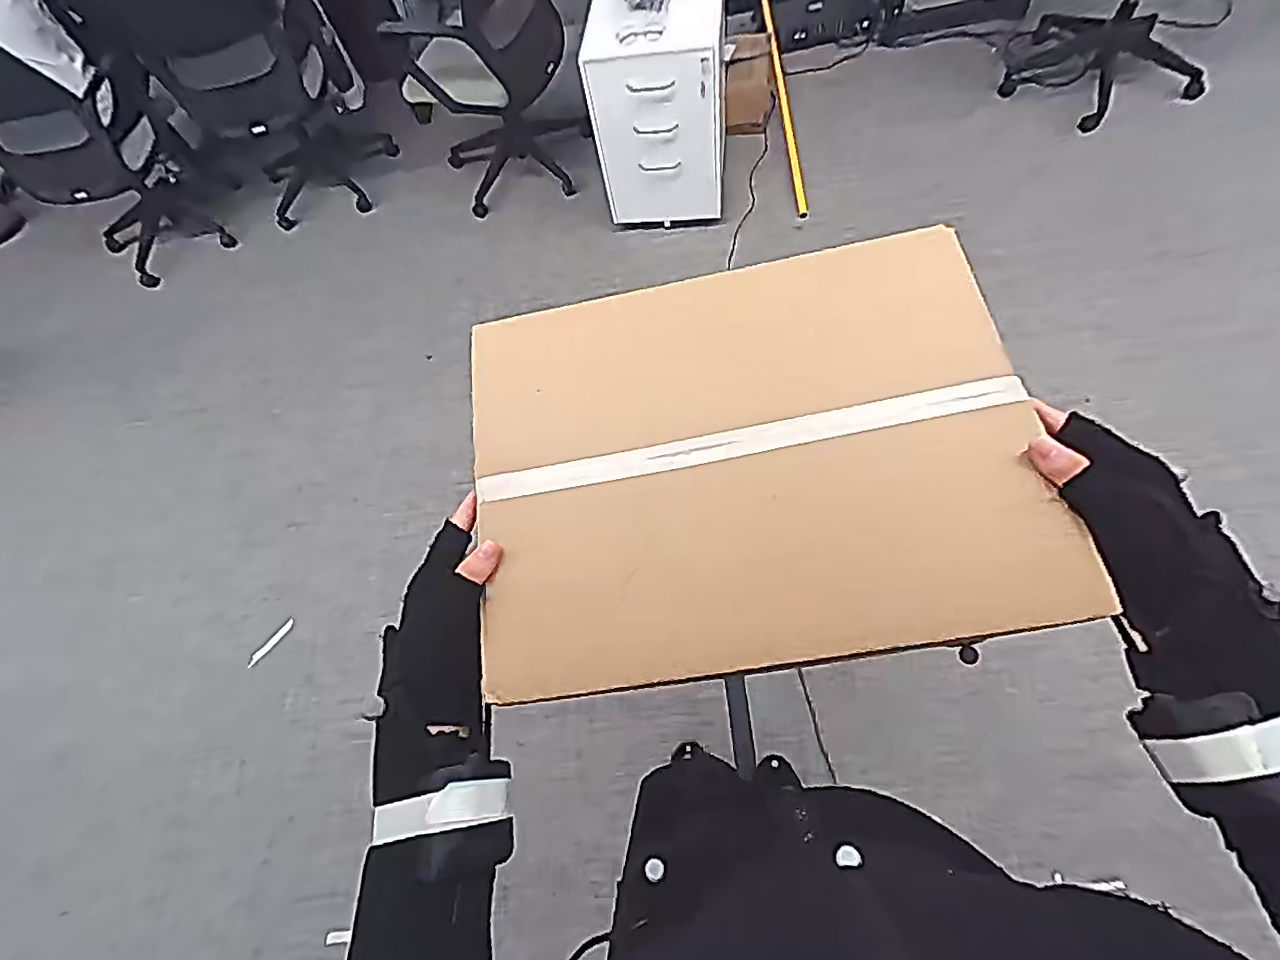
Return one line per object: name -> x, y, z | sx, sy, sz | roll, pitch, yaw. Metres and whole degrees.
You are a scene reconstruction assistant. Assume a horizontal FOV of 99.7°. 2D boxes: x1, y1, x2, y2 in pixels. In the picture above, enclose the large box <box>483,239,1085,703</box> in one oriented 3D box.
large box -> 0.098, 0.026, 0.555 | 0.408, 0.320, 0.320 | -11, 69, 6
